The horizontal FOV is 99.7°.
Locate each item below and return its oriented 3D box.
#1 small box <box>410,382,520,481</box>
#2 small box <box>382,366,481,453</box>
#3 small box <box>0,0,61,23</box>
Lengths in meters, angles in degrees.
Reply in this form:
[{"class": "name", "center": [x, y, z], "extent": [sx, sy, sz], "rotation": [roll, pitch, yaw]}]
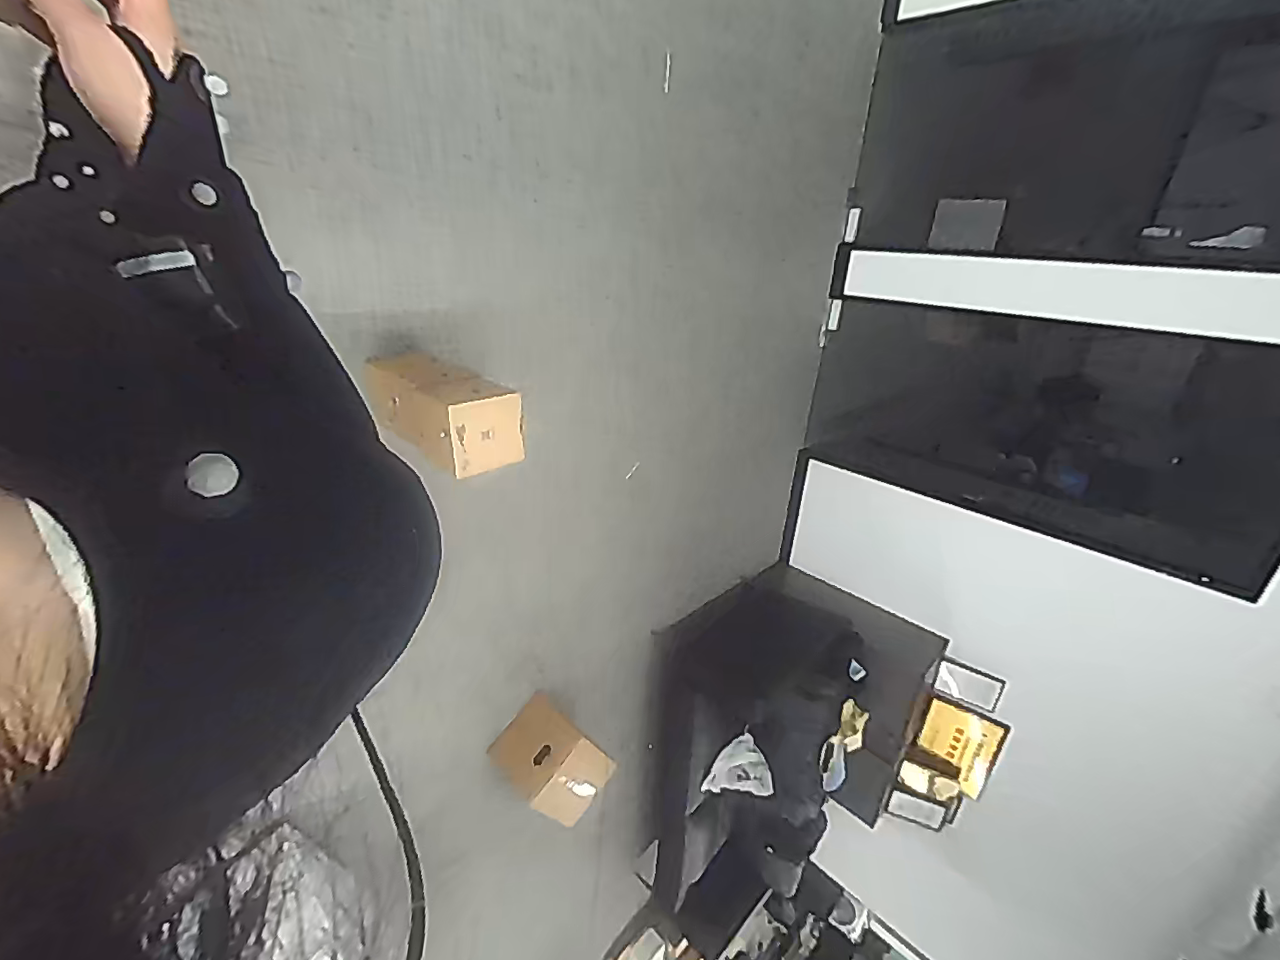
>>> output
[{"class": "small box", "center": [-0.395, -0.118, 1.230], "extent": [0.179, 0.176, 0.168], "rotation": [-22, 124, -42]}, {"class": "small box", "center": [-0.507, -0.179, 1.334], "extent": [0.179, 0.176, 0.168], "rotation": [-21, 123, -40]}, {"class": "small box", "center": [-0.426, -0.386, 0.278], "extent": [0.168, 0.176, 0.179], "rotation": [-3, 114, -52]}]
